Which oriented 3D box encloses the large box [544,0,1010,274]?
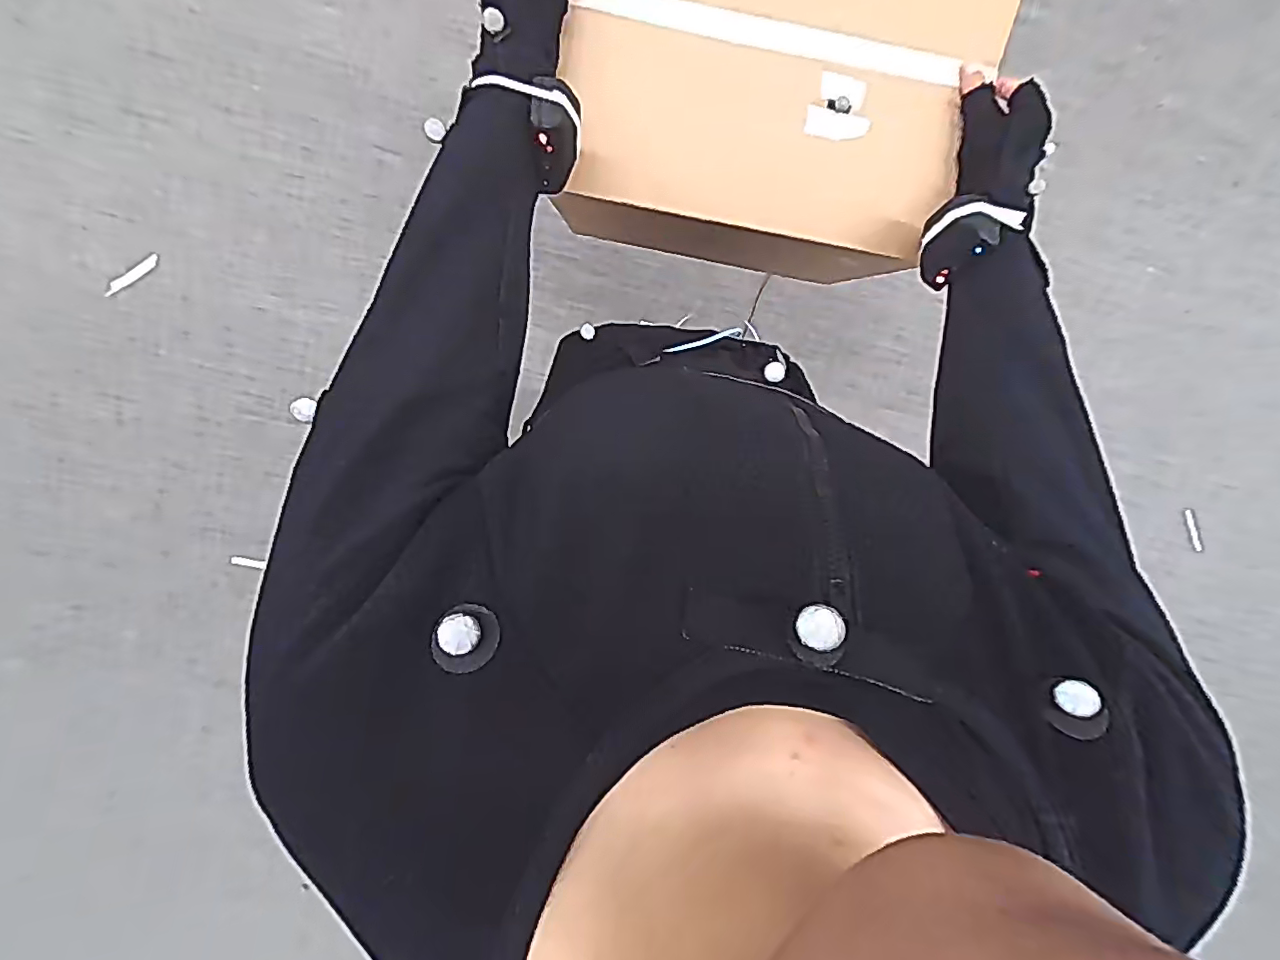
[{"bbox_3d":[0.122,-0.447,0.635,0.408,0.320,0.320,10,107,-4],"label":"large box"}]
